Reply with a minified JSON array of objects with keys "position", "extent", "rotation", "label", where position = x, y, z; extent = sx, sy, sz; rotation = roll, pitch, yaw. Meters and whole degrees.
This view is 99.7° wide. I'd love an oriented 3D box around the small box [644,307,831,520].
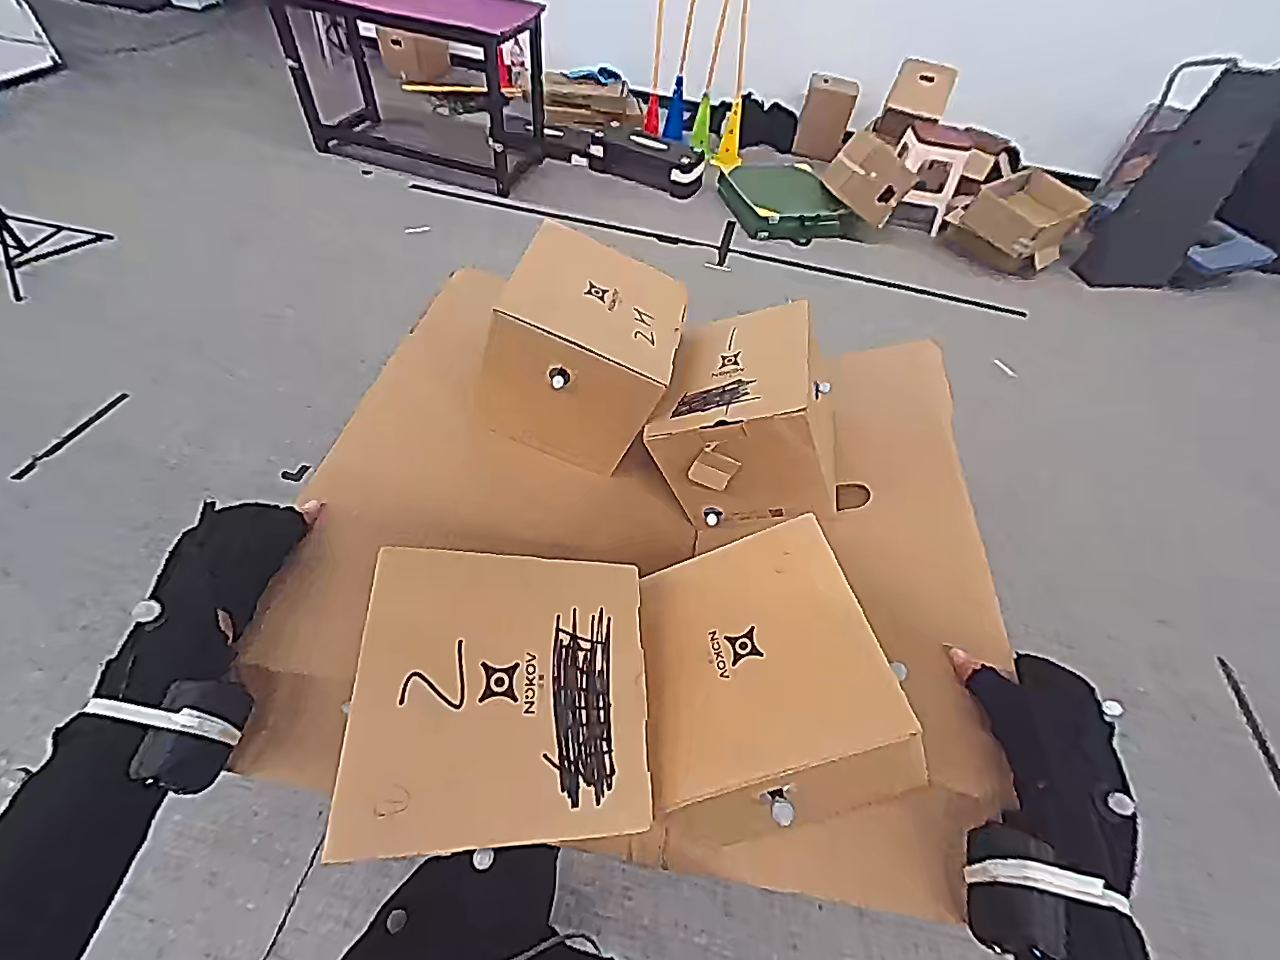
[{"position":[0.124,-0.065,0.628],"extent":[0.168,0.176,0.179],"rotation":[-7,47,25],"label":"small box"}]
